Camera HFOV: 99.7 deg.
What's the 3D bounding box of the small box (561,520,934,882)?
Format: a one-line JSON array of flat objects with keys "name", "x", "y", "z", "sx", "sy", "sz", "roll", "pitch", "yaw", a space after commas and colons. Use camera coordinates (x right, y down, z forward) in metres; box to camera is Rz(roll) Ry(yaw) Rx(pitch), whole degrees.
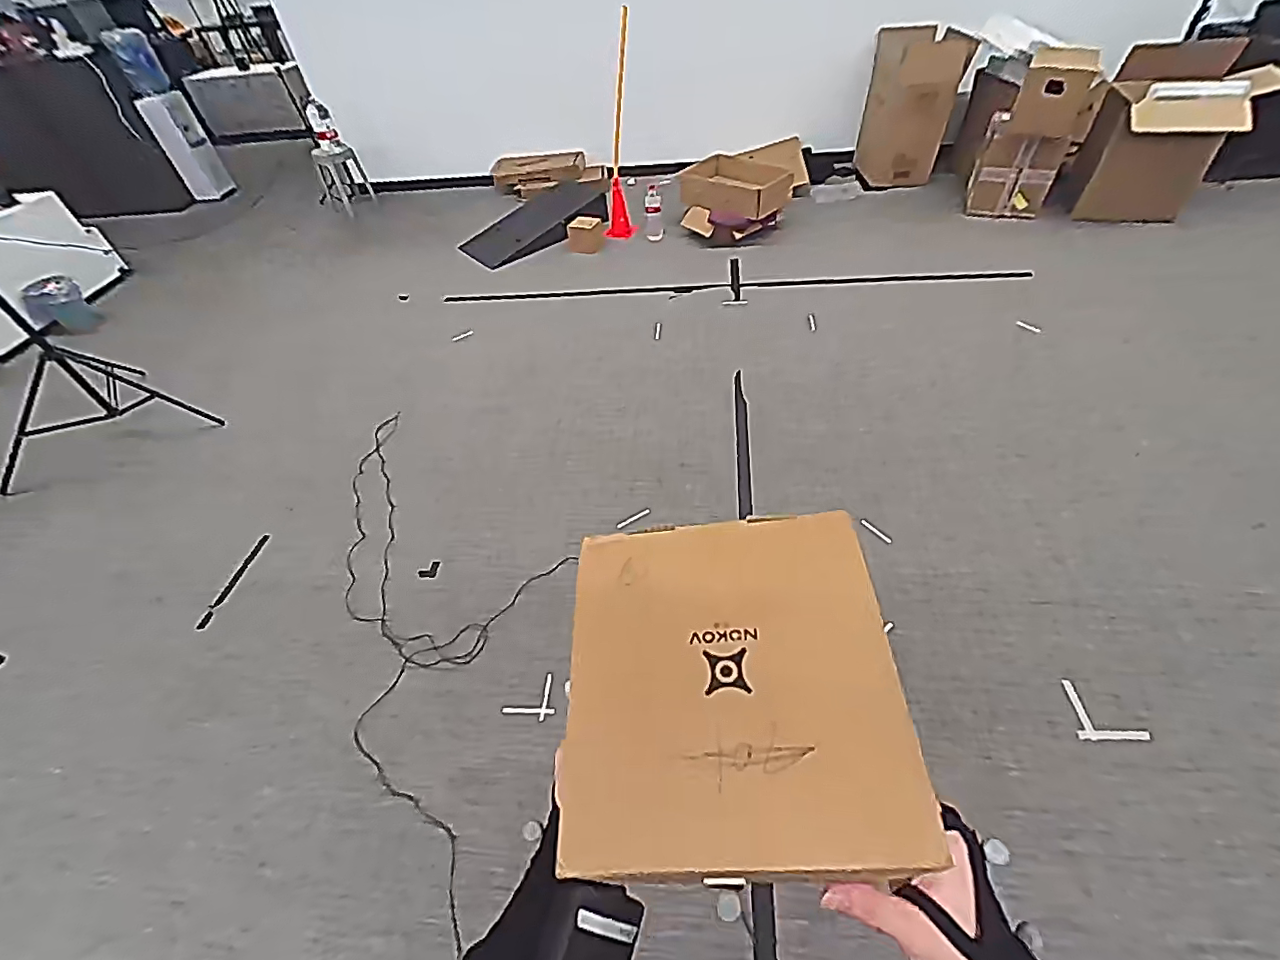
[{"name": "small box", "x": 0.057, "y": 0.149, "z": 0.351, "sx": 0.168, "sy": 0.176, "sz": 0.179, "roll": -7, "pitch": 52, "yaw": 7}]
